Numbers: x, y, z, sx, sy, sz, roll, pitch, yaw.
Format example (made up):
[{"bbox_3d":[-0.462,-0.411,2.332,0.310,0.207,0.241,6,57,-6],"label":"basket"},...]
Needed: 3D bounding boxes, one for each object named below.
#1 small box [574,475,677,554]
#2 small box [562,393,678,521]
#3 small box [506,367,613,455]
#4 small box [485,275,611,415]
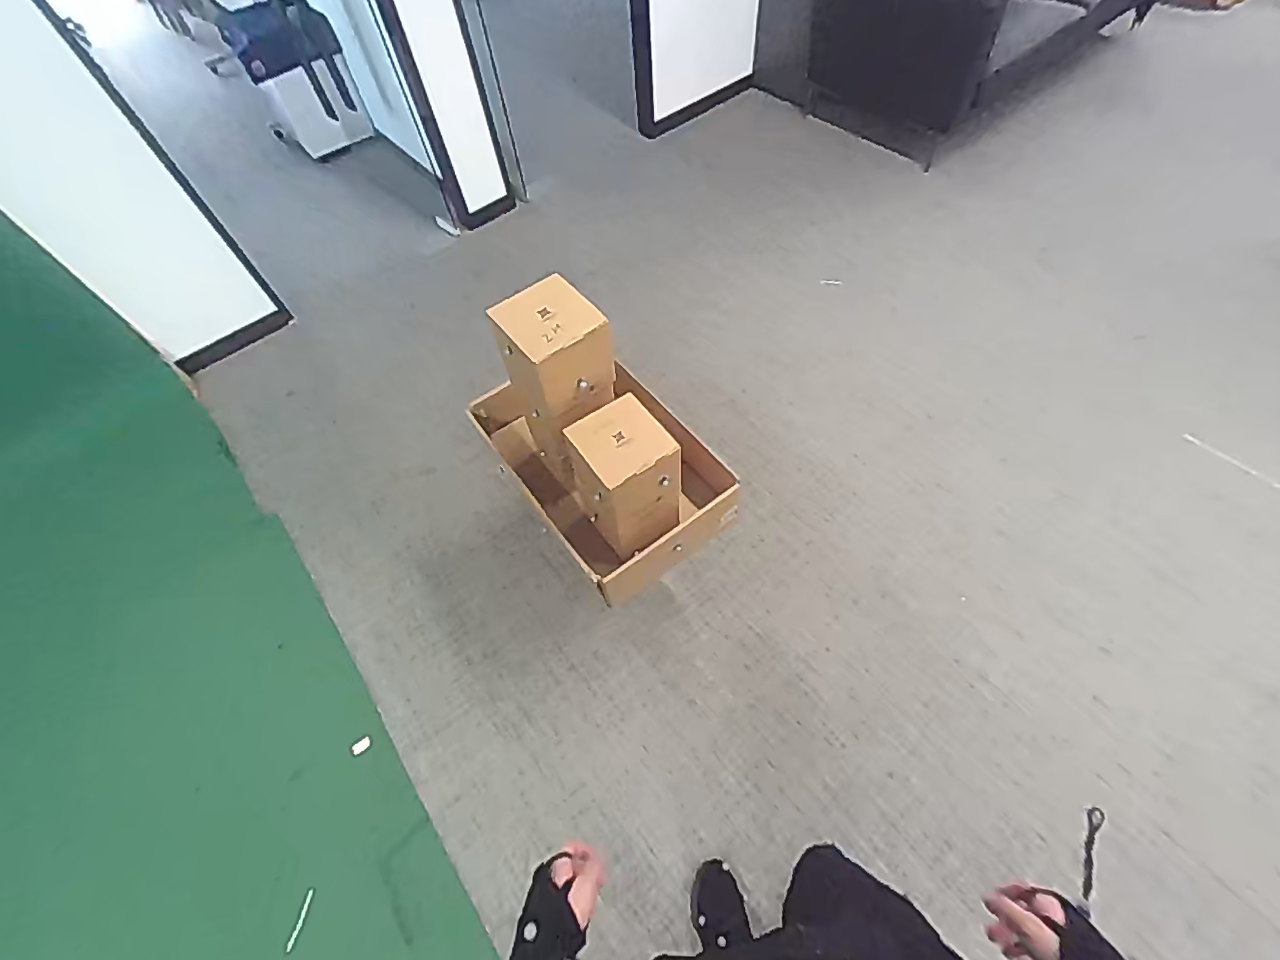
[{"bbox_3d":[-0.026,0.050,1.245,0.168,0.176,0.179,-33,60,-15],"label":"small box"},{"bbox_3d":[-0.034,-0.037,1.108,0.168,0.176,0.179,-31,60,-15],"label":"small box"},{"bbox_3d":[-0.175,-0.189,1.220,0.168,0.176,0.179,-34,64,-16],"label":"small box"},{"bbox_3d":[-0.175,-0.263,1.072,0.168,0.176,0.179,-36,65,-16],"label":"small box"}]
